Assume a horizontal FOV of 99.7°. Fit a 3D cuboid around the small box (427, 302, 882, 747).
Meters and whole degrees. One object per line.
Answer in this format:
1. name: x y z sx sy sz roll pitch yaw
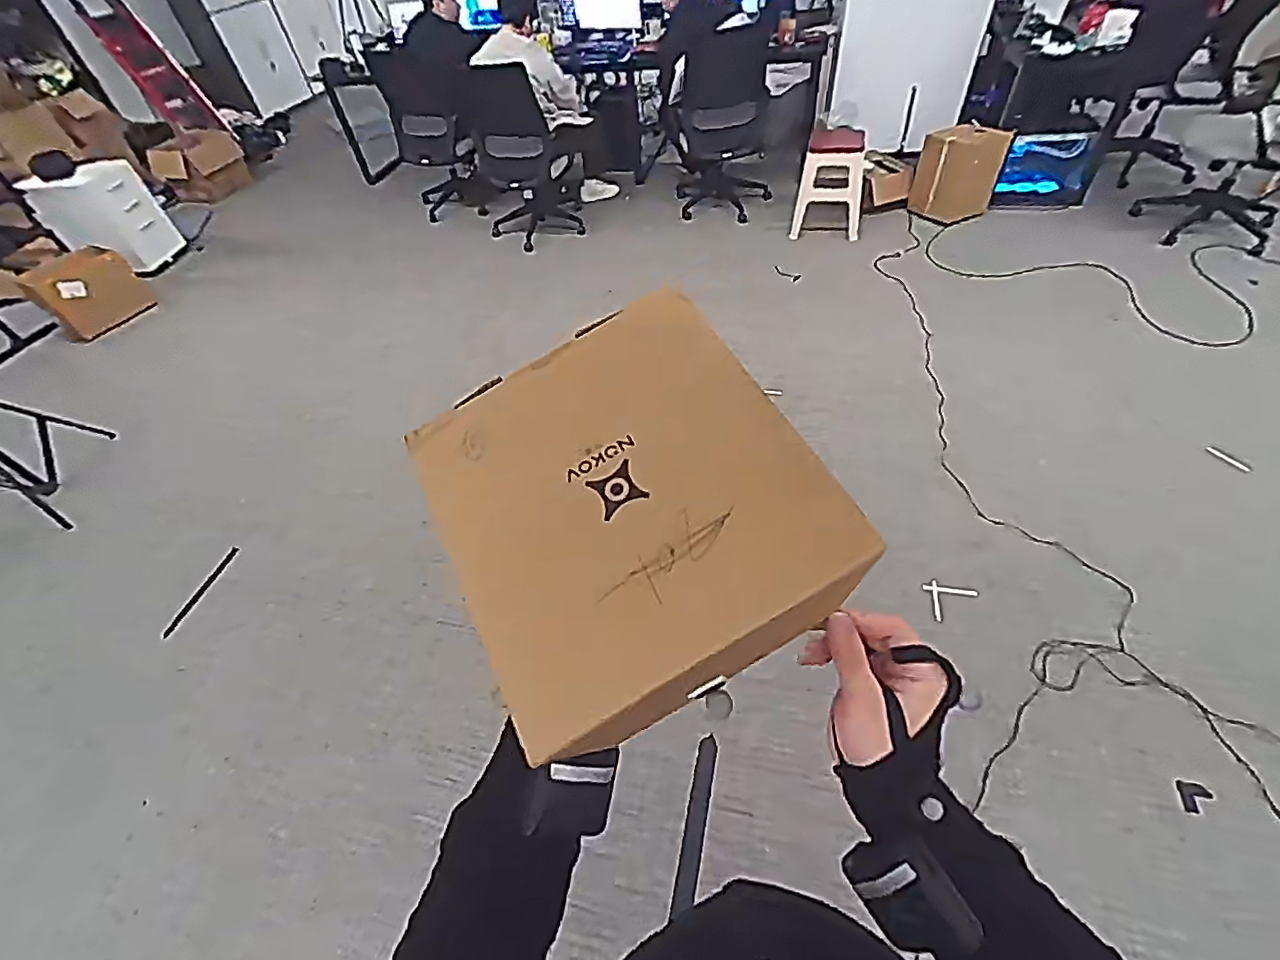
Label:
1. small box: 0.007 0.037 0.332 0.168 0.176 0.179 -31 65 -2
